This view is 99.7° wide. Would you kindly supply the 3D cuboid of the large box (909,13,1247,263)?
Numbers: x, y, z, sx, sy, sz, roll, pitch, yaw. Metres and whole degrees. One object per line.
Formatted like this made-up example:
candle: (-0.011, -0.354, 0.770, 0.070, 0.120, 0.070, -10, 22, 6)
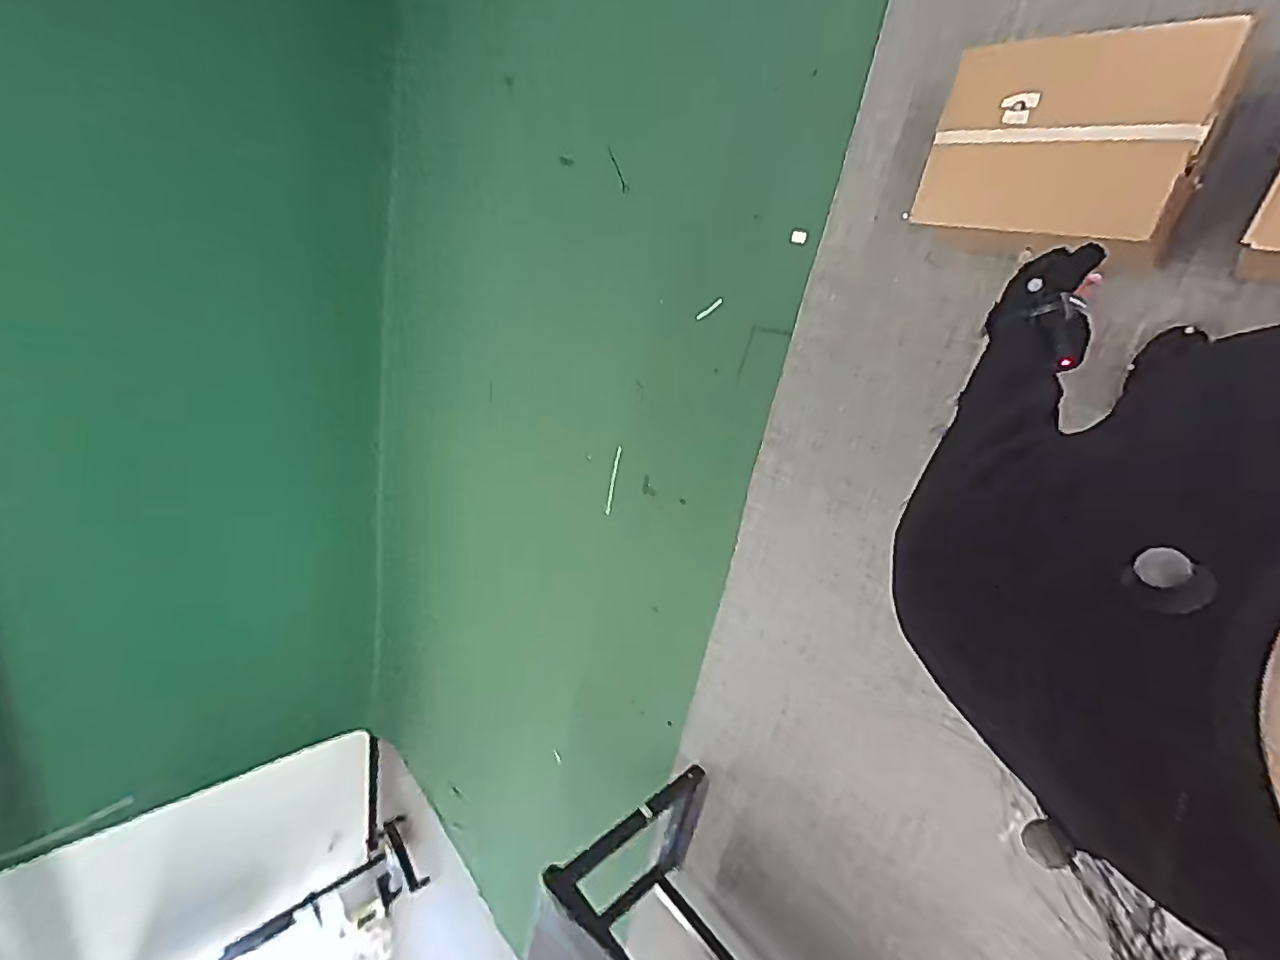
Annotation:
large box: (0.835, -0.628, 1.064, 0.408, 0.320, 0.320, 30, 116, 40)
